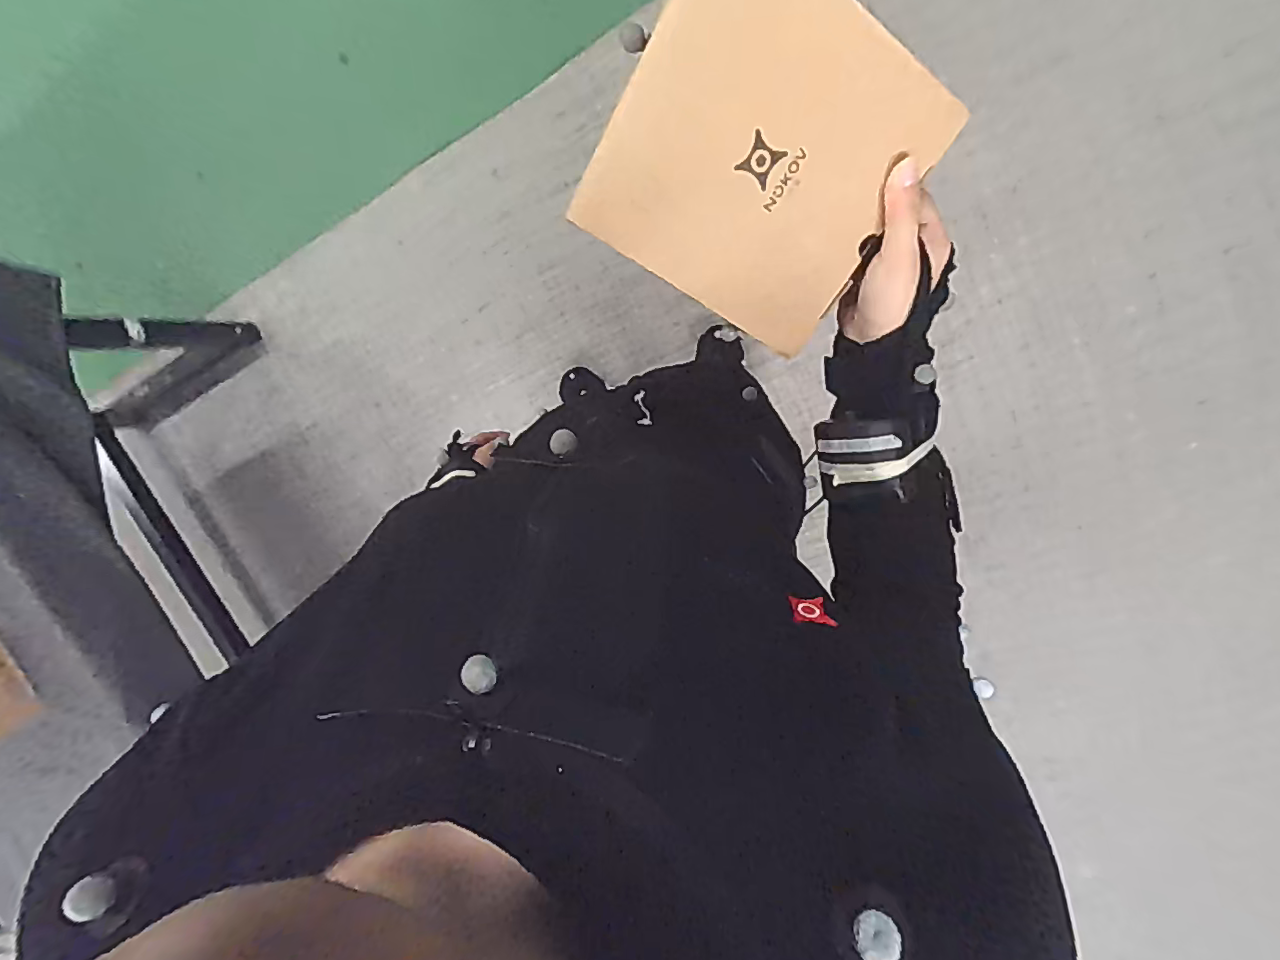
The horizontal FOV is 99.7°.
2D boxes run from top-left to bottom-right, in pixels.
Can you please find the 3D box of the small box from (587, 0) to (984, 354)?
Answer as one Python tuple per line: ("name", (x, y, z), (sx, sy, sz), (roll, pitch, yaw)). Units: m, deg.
("small box", (0.073, -0.219, 0.376), (0.179, 0.176, 0.168), (25, 115, -21))
